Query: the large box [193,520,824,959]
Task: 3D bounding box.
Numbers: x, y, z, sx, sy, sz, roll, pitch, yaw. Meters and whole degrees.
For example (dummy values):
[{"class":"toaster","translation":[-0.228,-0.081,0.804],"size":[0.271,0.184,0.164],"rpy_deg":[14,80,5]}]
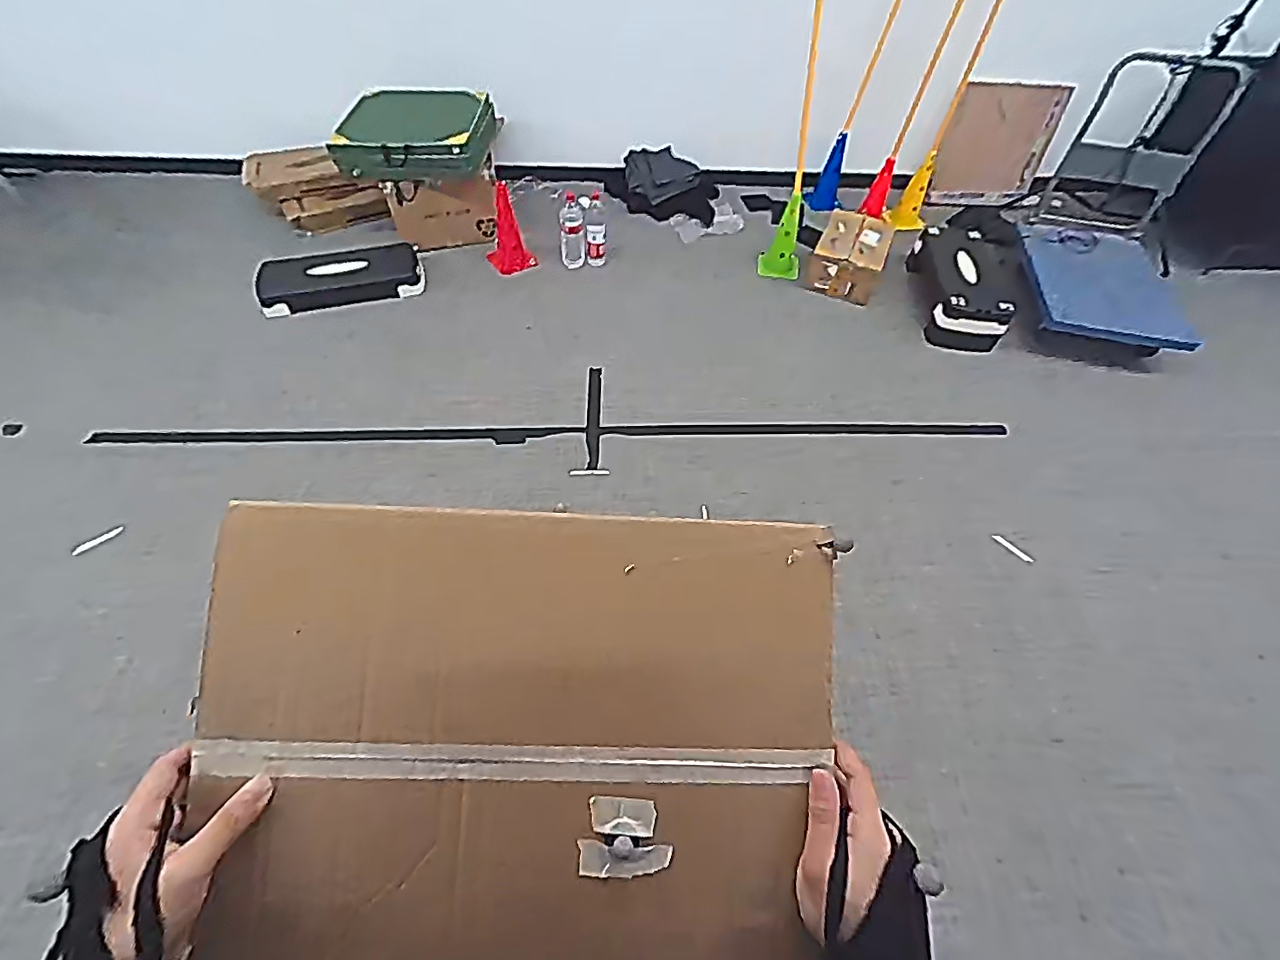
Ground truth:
[{"class":"large box","translation":[-0.085,0.202,0.504],"size":[0.408,0.320,0.320],"rpy_deg":[2,85,-4]}]
